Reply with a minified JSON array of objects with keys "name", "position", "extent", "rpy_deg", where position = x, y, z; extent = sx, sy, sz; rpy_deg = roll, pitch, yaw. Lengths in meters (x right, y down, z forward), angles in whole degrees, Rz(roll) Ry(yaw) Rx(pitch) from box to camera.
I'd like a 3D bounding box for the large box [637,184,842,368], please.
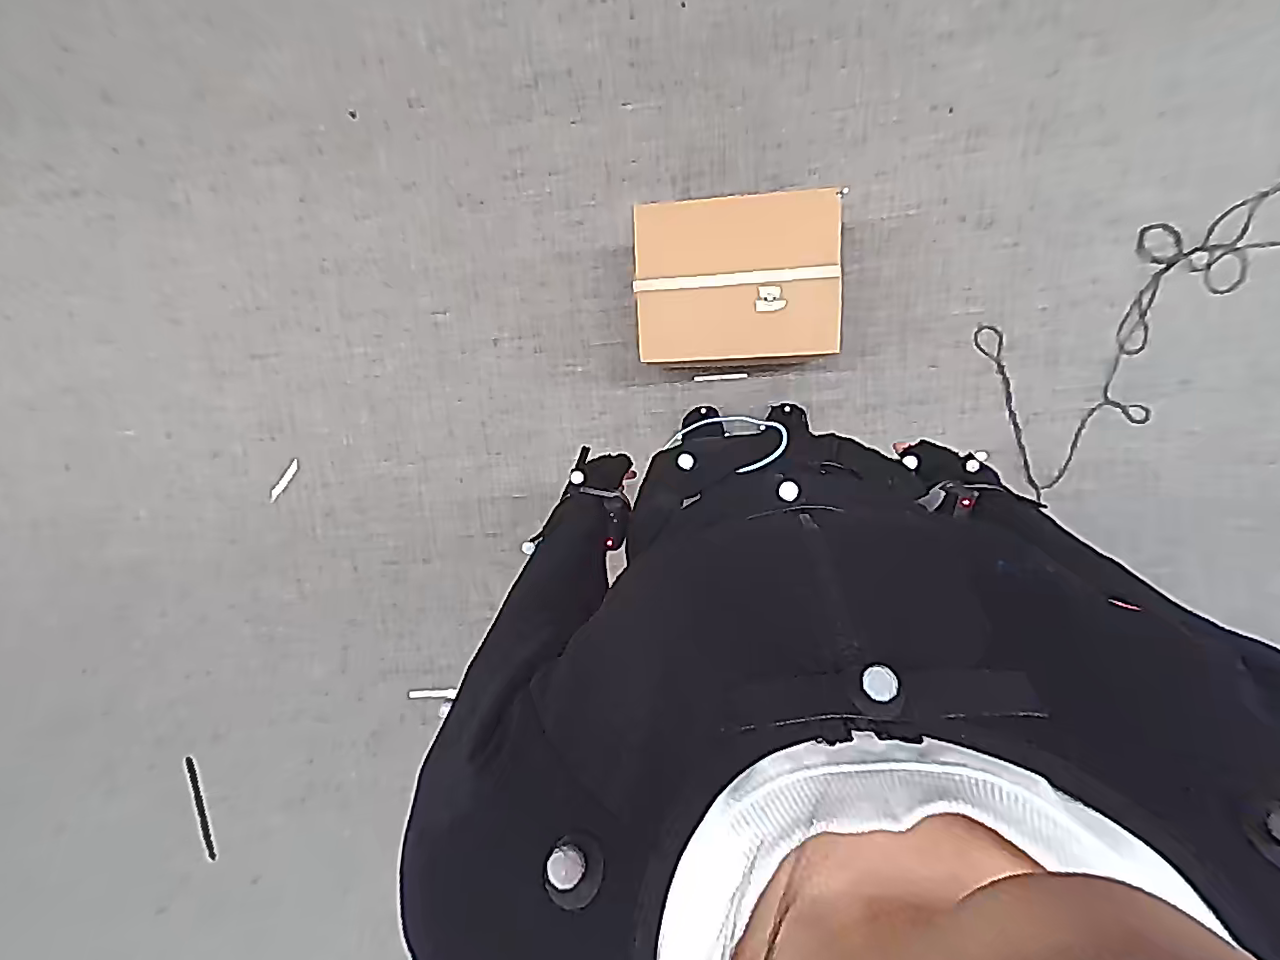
[{"name":"large box","position":[0.214,-0.433,1.229],"extent":[0.408,0.320,0.320],"rpy_deg":[-1,99,7]}]
